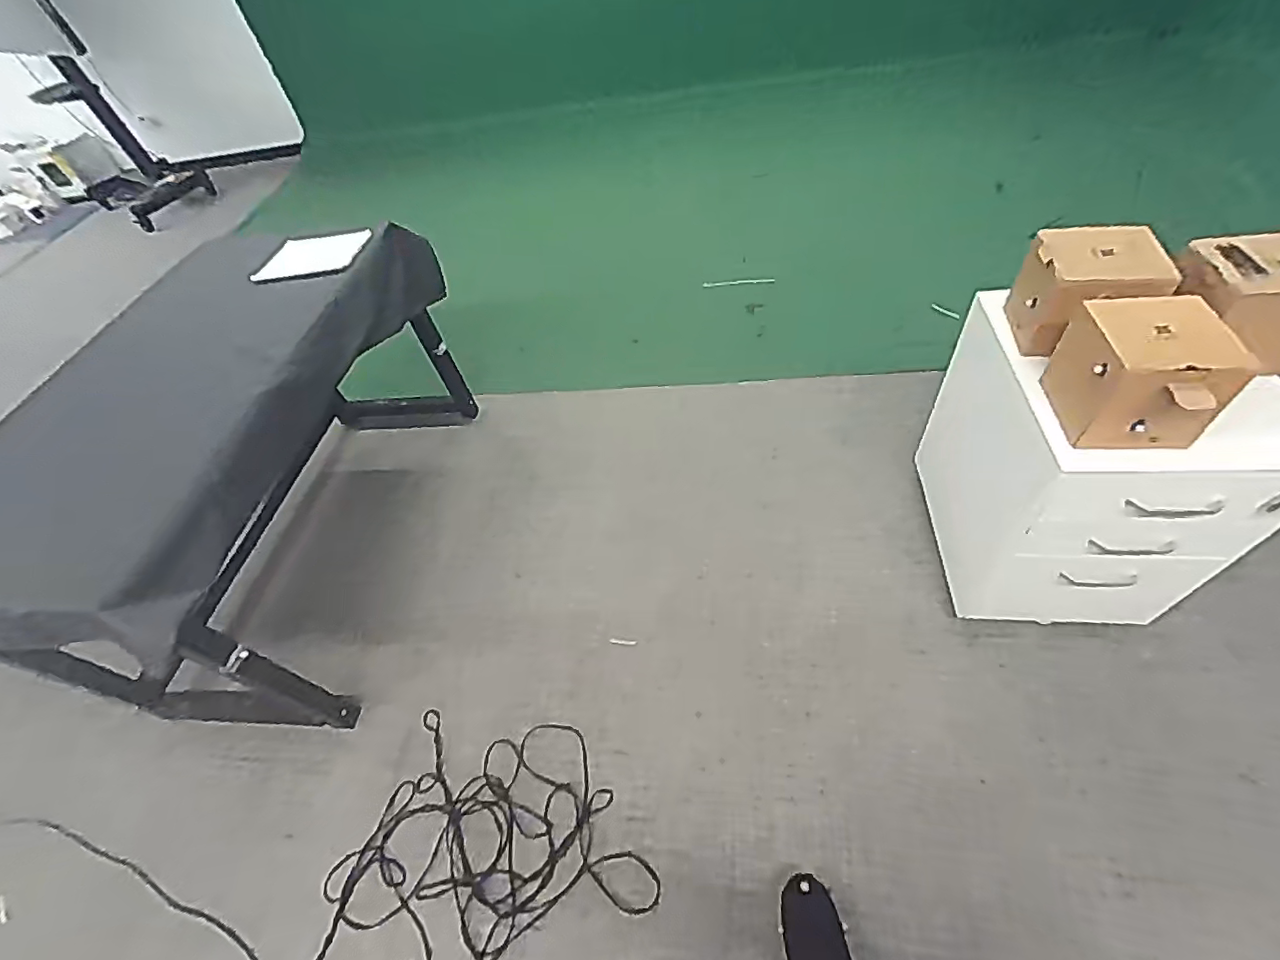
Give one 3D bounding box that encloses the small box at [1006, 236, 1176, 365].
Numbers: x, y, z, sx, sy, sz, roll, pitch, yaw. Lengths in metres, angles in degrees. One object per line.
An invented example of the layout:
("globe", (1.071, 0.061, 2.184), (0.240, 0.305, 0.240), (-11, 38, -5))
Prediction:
("small box", (0.814, -0.329, 1.005), (0.179, 0.176, 0.168), (4, 53, 12))
